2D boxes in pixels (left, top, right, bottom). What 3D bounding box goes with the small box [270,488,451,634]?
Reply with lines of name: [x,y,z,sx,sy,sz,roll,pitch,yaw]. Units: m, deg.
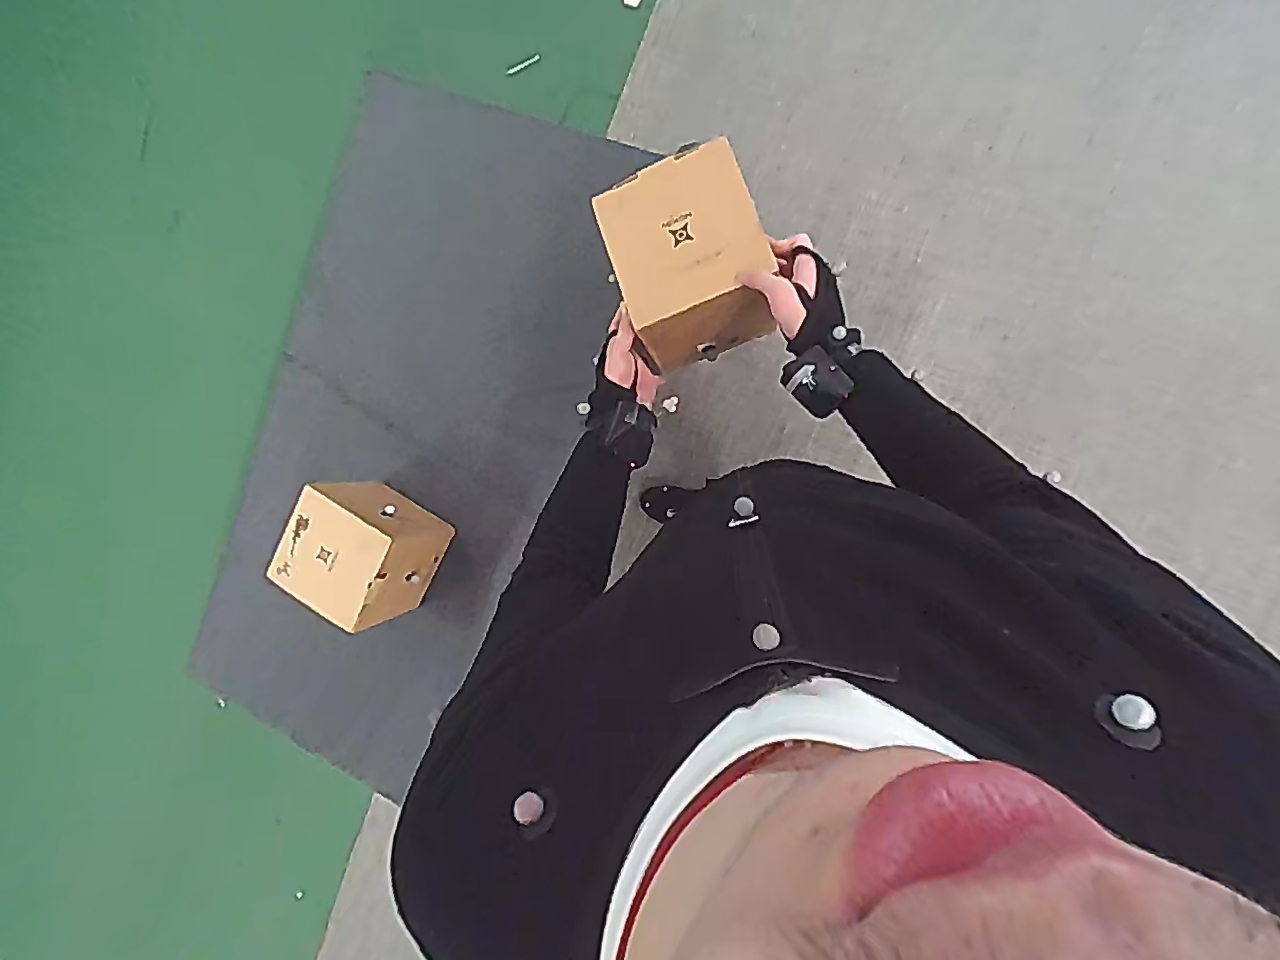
small box: [-0.447,0.119,0.890,0.179,0.176,0.168,26,97,11]

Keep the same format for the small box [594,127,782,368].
small box: [0.064,-0.262,0.651,0.168,0.176,0.179,-19,79,12]
